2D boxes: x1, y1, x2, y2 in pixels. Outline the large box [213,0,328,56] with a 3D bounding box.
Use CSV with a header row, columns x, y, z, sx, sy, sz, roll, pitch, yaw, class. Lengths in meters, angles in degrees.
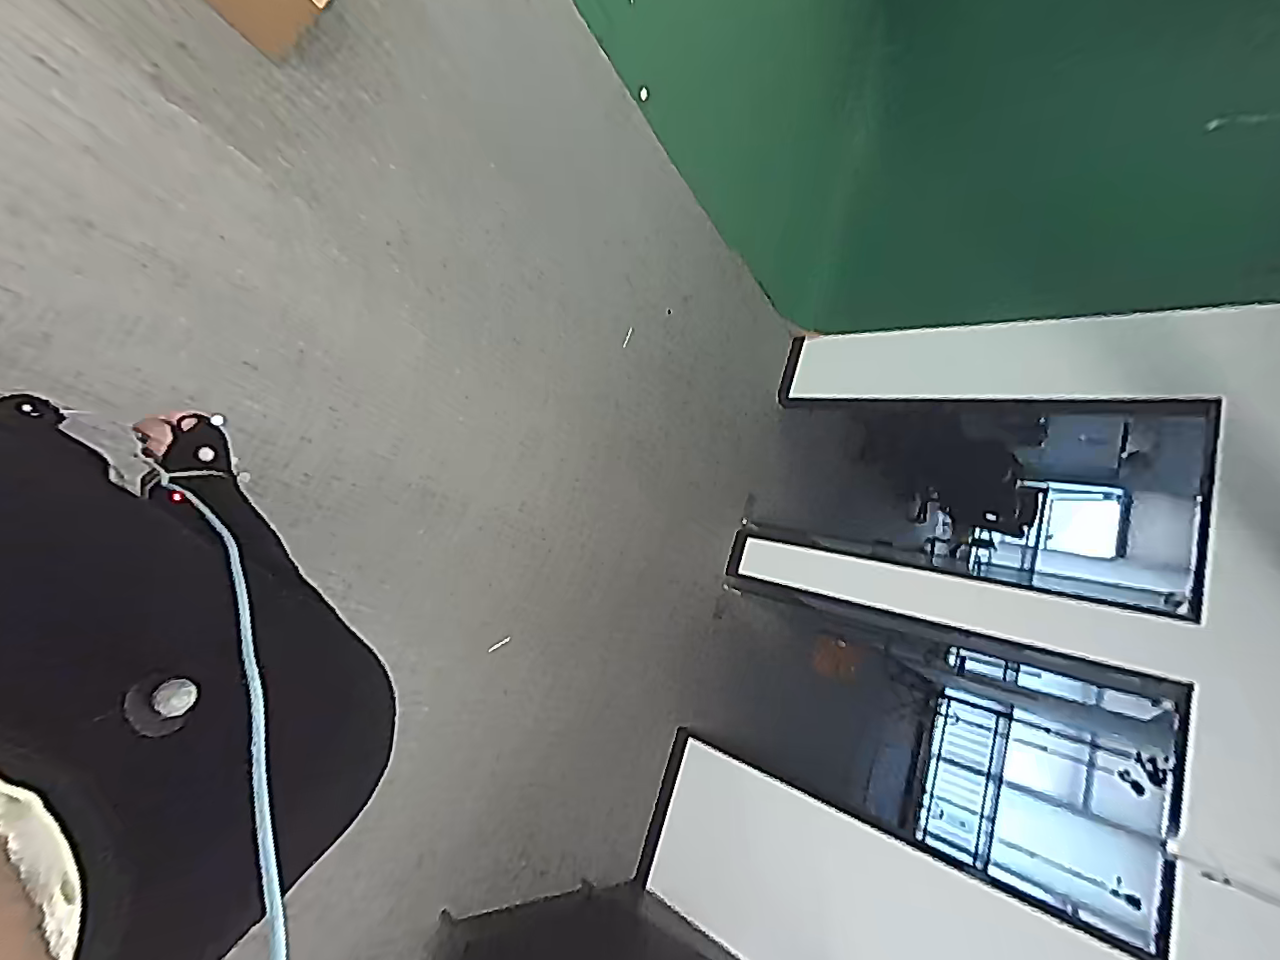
x,y,z,sx,sy,sz,roll,pitch,yaw,class
-0.864,-1.260,1.158,0.408,0.320,0.320,36,69,-47,large box
